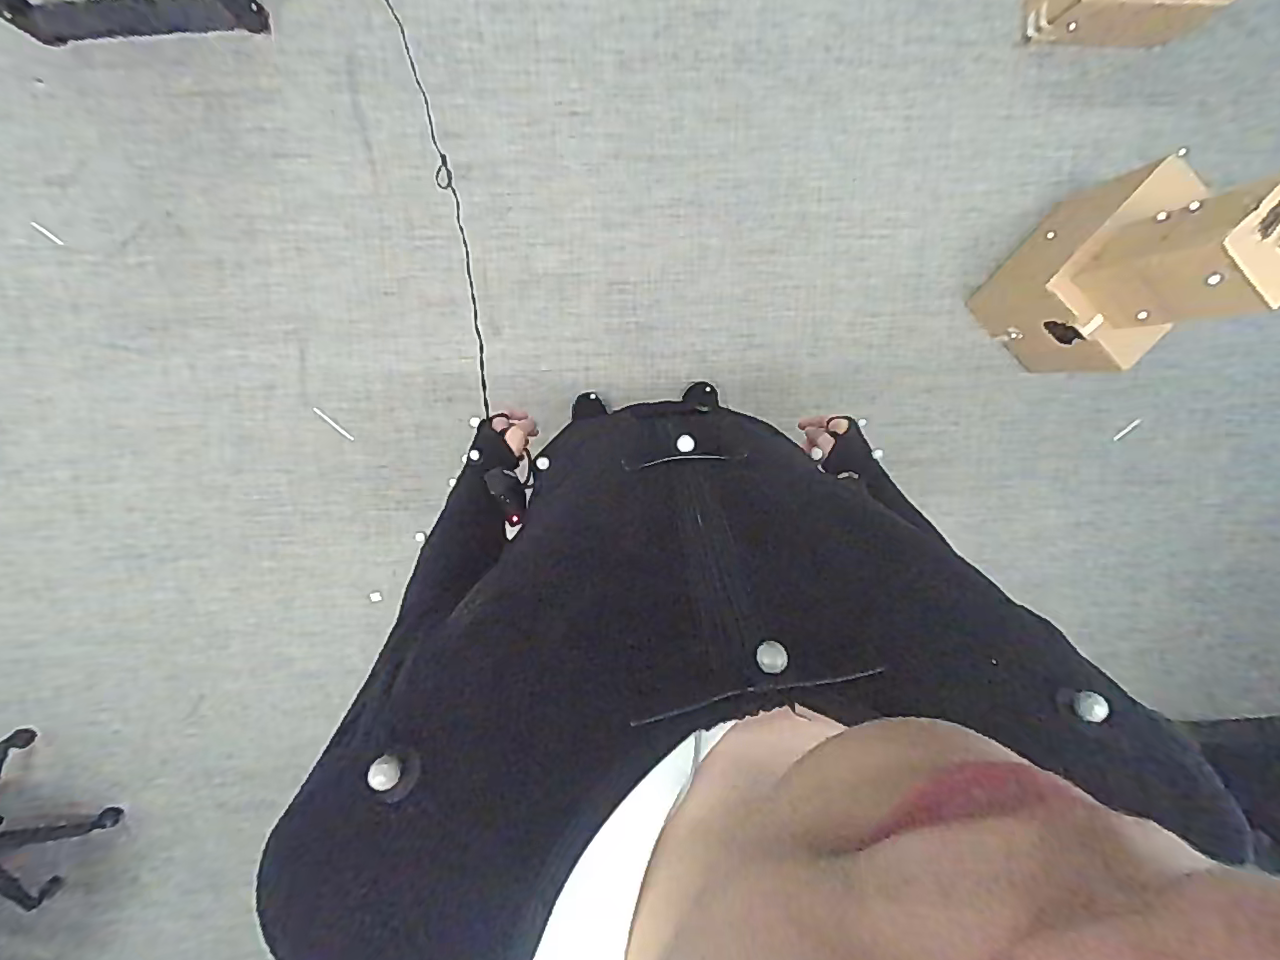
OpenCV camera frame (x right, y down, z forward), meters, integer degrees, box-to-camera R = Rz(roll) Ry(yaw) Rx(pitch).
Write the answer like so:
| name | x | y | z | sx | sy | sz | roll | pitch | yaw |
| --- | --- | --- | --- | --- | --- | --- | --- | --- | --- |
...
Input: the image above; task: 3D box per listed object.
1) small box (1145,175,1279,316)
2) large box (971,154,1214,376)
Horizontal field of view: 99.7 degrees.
| name | x | y | z | sx | sy | sz | roll | pitch | yaw |
| --- | --- | --- | --- | --- | --- | --- | --- | --- | --- |
| small box | 1.140 | -0.434 | 1.031 | 0.179 | 0.176 | 0.168 | 42 | 96 | -8 |
| large box | 1.205 | -0.531 | 1.432 | 0.320 | 0.320 | 0.408 | 41 | 95 | -8 |
